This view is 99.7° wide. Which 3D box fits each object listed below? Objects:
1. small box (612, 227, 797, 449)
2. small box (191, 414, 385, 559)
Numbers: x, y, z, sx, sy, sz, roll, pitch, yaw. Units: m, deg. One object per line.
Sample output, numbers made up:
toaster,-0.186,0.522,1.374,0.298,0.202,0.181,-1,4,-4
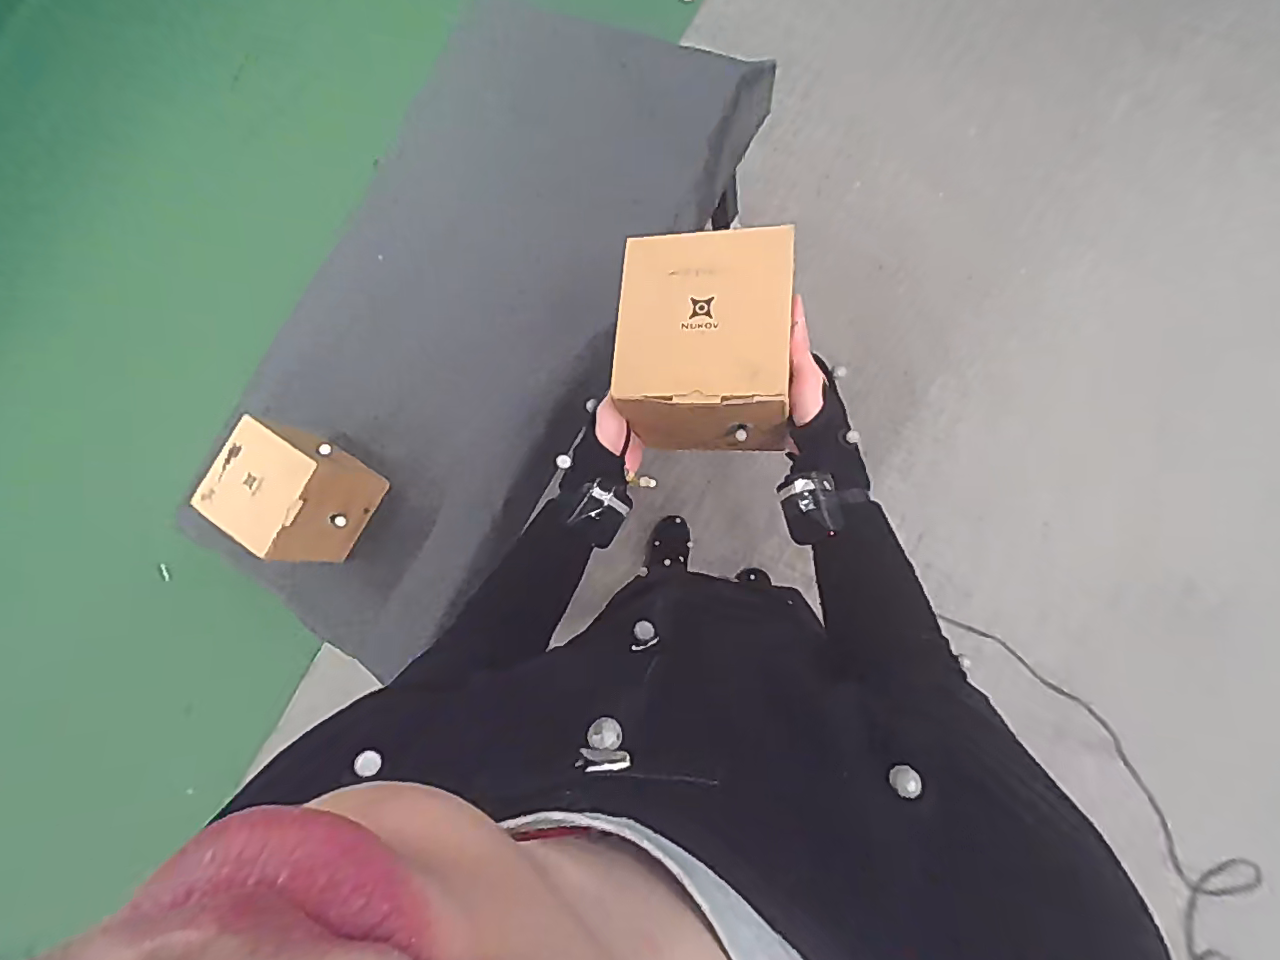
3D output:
small box,0.078,-0.139,0.583,0.168,0.176,0.179,3,76,13
small box,-0.571,0.017,0.901,0.179,0.176,0.168,30,87,14
